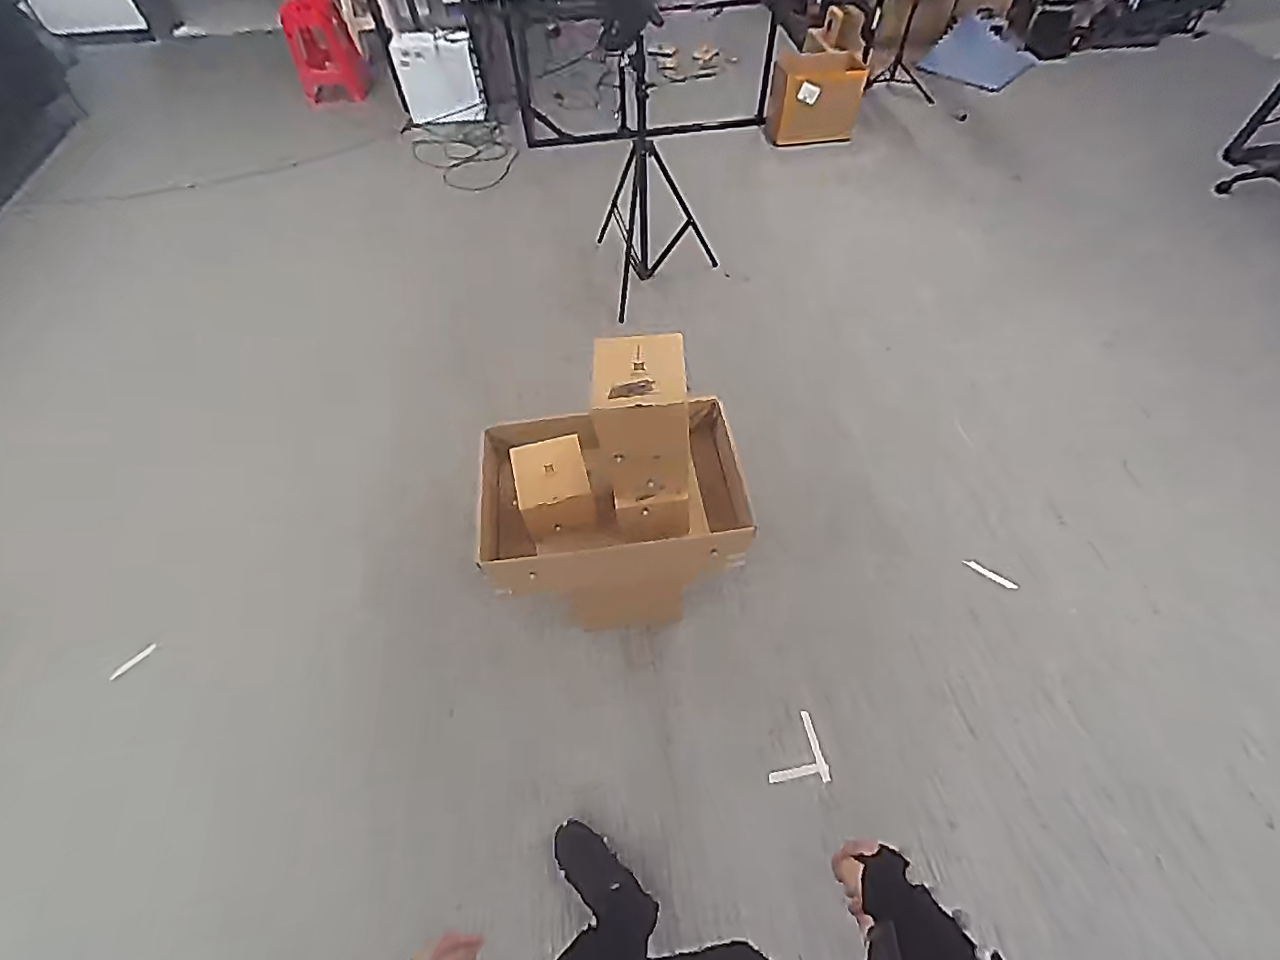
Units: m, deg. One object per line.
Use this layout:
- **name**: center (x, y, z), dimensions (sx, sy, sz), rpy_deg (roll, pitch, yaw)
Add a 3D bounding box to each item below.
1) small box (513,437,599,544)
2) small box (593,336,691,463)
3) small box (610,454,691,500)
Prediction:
- **small box**: center (-0.201, 0.028, 1.304), dimensions (0.168, 0.176, 0.179), rpy_deg (-14, 58, -8)
- **small box**: center (0.009, -0.142, 1.014), dimensions (0.168, 0.176, 0.179), rpy_deg (-3, 56, 4)
- **small box**: center (0.017, -0.079, 1.170), dimensions (0.168, 0.176, 0.179), rpy_deg (-8, 57, 1)
